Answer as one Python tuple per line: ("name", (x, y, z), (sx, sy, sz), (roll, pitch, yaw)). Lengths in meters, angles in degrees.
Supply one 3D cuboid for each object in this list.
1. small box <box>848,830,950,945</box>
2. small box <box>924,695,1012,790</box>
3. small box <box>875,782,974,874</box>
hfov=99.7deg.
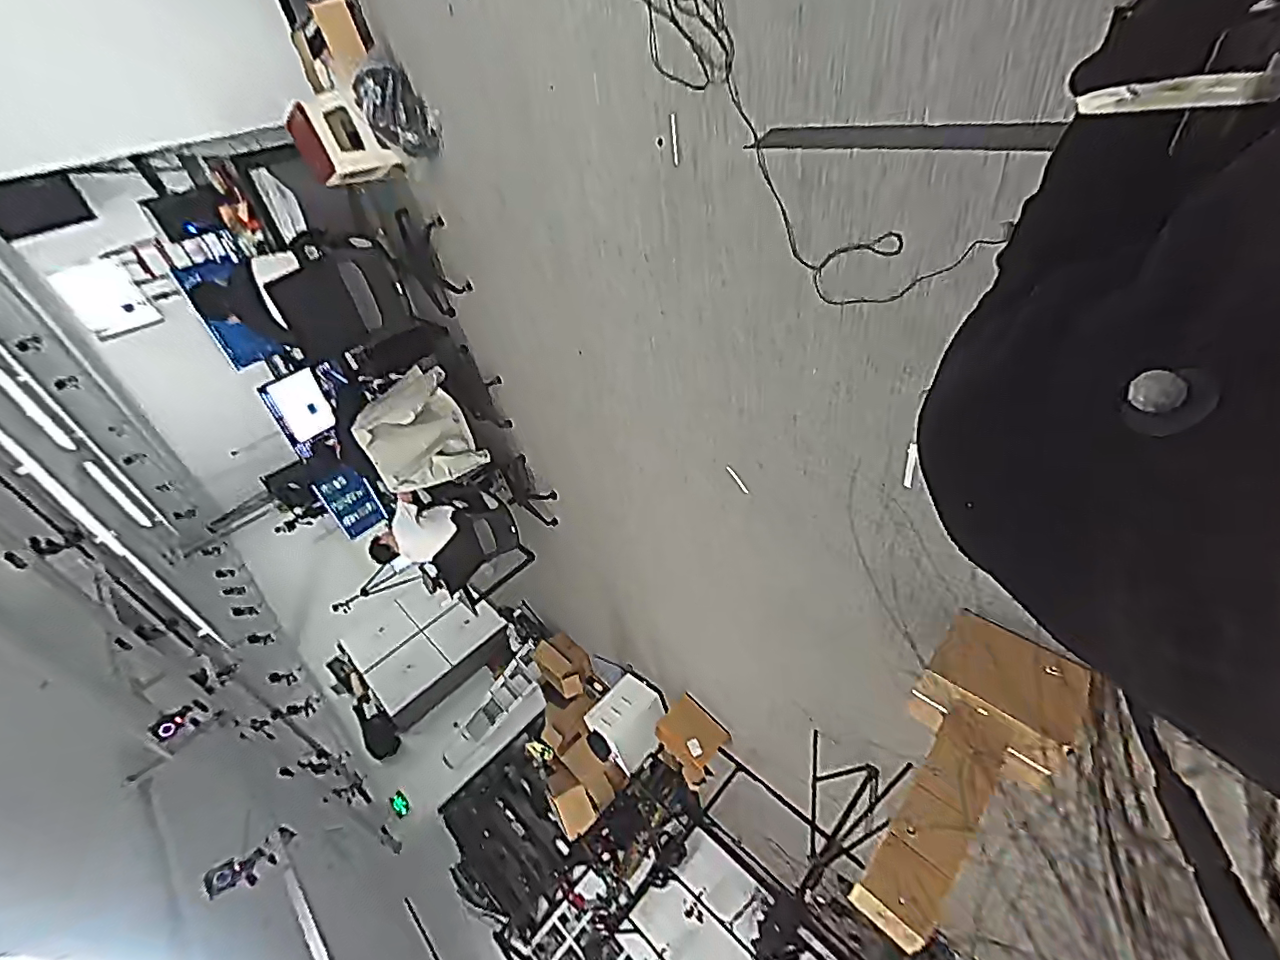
("small box", (0.691, 1.080, 1.450), (0.179, 0.176, 0.168), (30, 142, 34))
("small box", (1.027, 0.816, 1.692), (0.179, 0.176, 0.168), (28, 141, 38))
("small box", (0.802, 0.993, 1.529), (0.179, 0.176, 0.168), (29, 143, 34))
